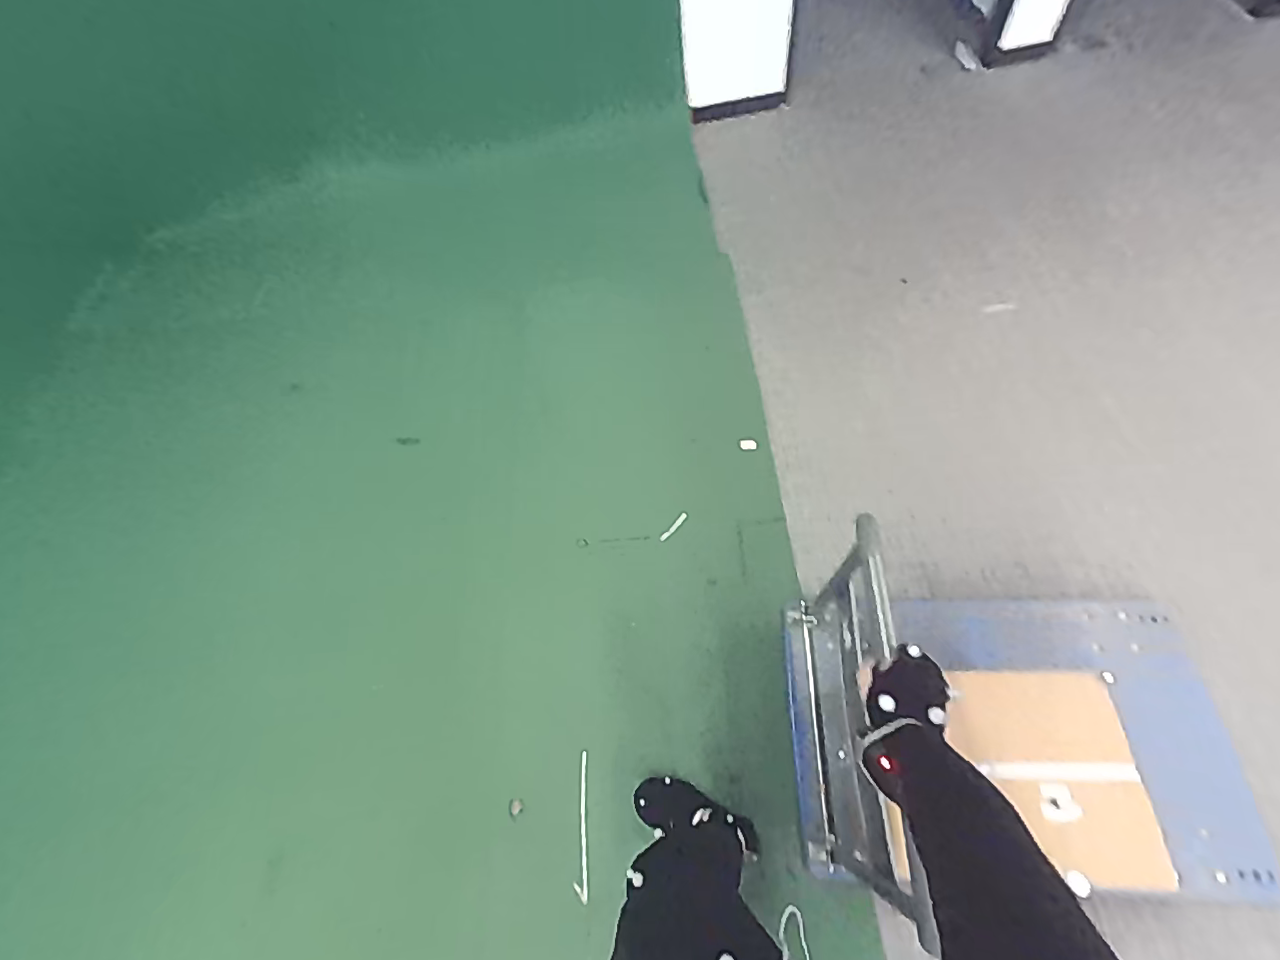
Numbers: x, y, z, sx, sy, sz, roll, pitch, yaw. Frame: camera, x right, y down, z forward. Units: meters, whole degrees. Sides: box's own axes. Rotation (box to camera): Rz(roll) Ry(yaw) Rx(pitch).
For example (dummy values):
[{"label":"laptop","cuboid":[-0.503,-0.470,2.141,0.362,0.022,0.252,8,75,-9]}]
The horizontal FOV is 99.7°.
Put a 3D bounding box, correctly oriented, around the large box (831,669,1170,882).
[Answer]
[{"label":"large box","cuboid":[0.621,0.551,1.034,0.408,0.320,0.320,-2,63,6]}]
